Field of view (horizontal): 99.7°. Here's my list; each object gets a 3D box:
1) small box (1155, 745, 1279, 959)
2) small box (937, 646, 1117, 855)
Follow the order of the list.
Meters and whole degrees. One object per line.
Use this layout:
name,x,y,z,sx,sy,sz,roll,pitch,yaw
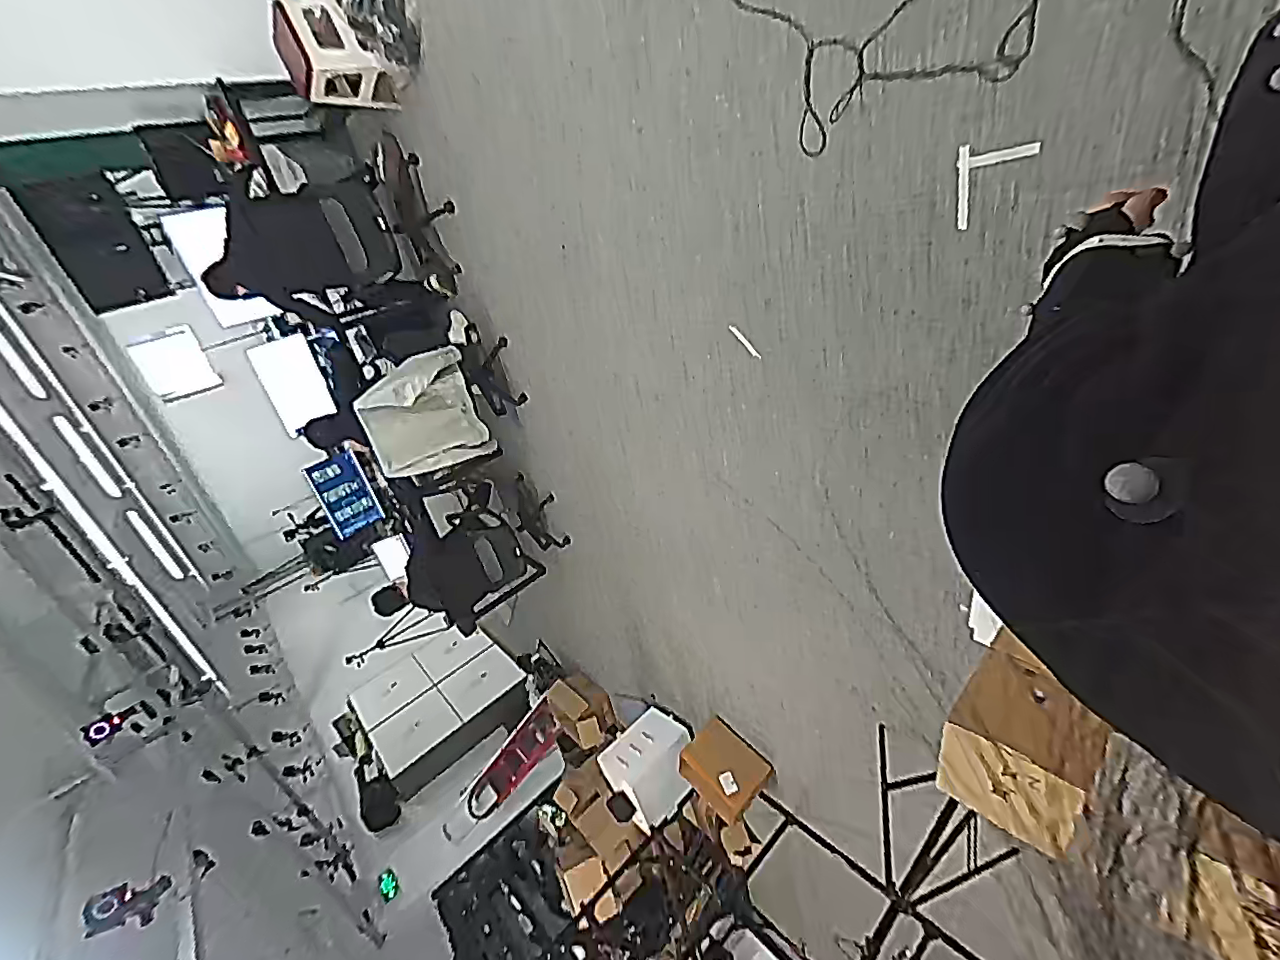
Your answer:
small box,0.732,0.449,0.616,0.168,0.176,0.179,18,131,47
small box,0.567,0.388,0.800,0.168,0.176,0.179,21,133,44
